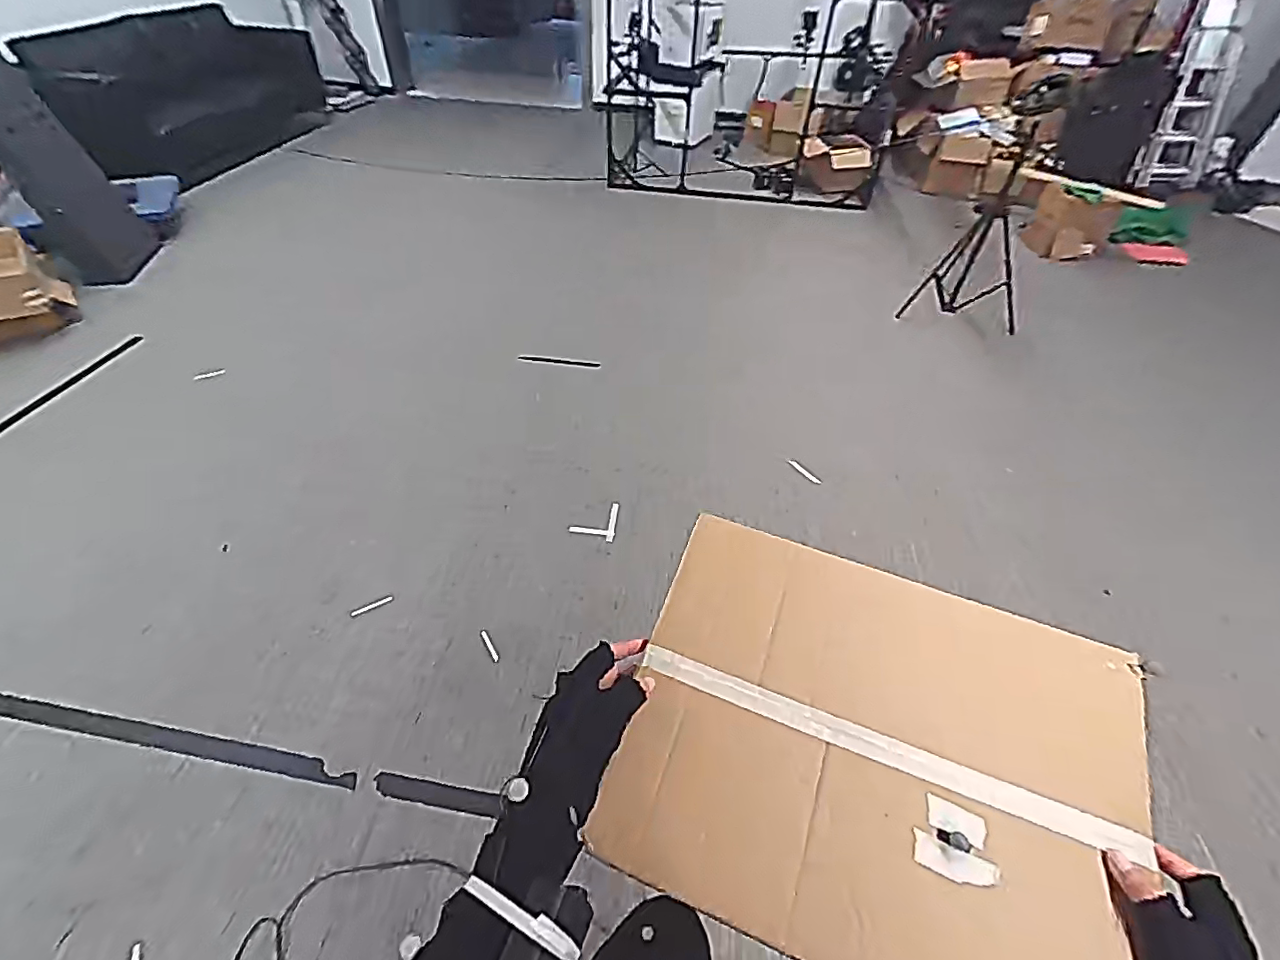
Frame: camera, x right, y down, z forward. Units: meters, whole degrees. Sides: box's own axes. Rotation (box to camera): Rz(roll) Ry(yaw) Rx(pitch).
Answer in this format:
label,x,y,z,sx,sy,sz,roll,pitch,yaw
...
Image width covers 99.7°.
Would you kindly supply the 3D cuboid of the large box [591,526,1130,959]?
label,x,y,z,sx,sy,sz,roll,pitch,yaw
large box,0.199,0.302,0.594,0.408,0.320,0.320,18,62,13
